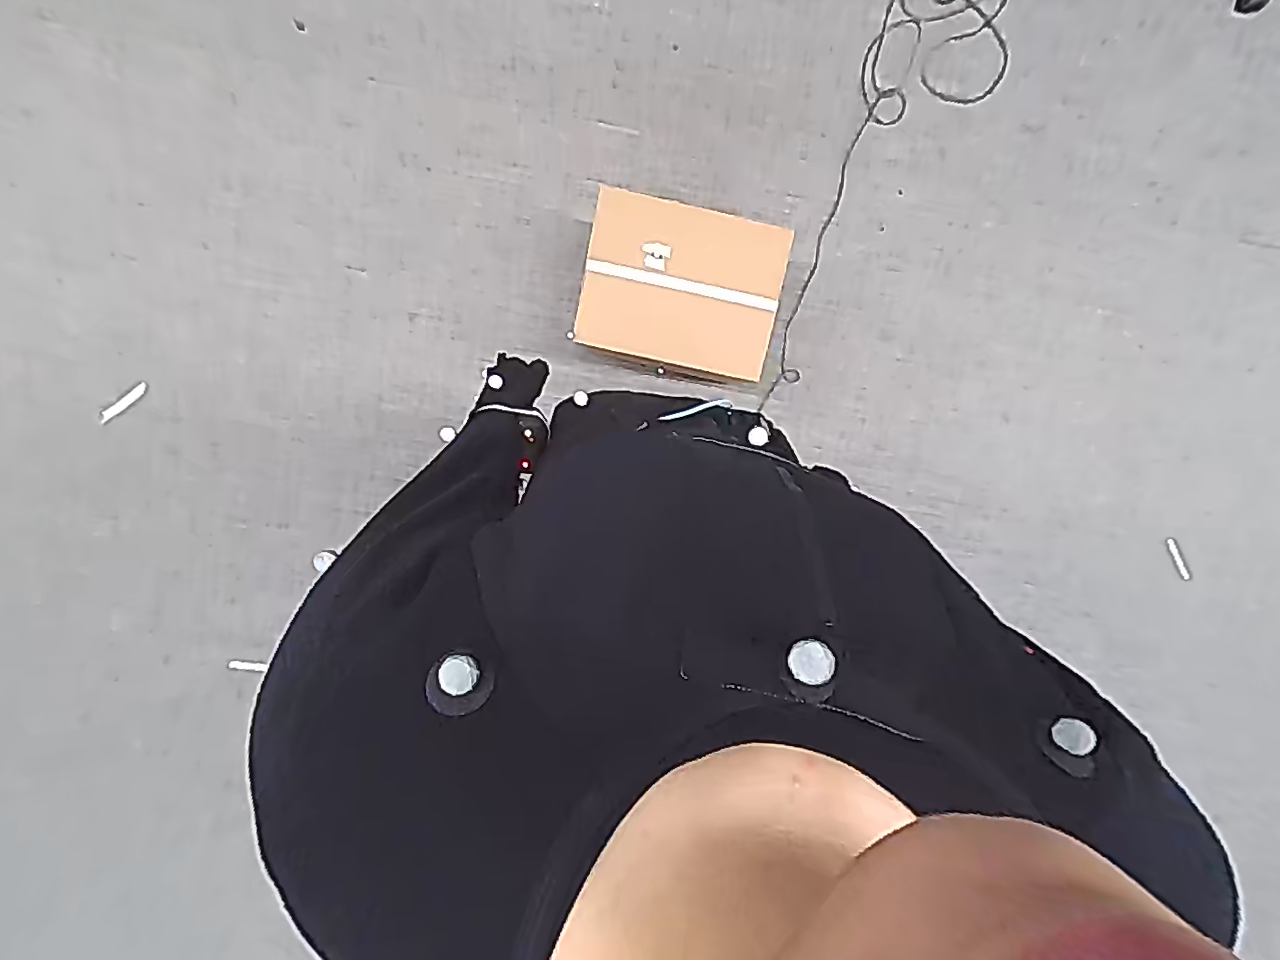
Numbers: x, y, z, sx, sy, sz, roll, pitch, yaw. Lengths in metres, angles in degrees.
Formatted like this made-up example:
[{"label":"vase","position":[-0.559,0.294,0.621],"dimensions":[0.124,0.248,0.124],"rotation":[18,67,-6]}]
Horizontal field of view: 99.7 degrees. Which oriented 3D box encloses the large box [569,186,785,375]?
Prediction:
[{"label":"large box","position":[0.074,-0.434,1.262],"dimensions":[0.408,0.320,0.320],"rotation":[12,99,-3]}]
